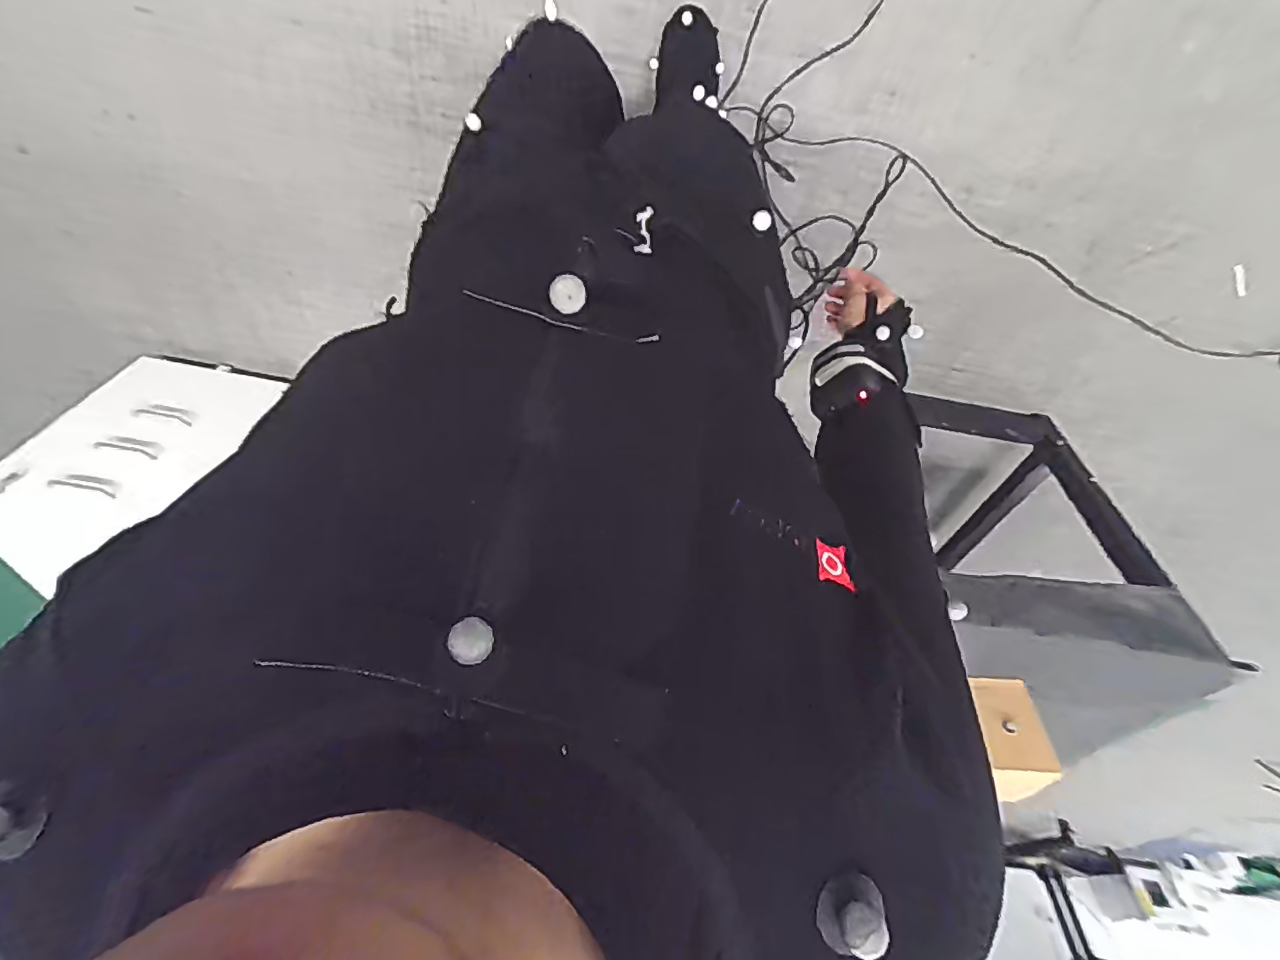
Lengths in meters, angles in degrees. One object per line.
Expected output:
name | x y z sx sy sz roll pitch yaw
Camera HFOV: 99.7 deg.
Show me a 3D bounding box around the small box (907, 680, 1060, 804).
small box | 0.629 0.492 1.021 0.168 0.176 0.179 0 135 5
